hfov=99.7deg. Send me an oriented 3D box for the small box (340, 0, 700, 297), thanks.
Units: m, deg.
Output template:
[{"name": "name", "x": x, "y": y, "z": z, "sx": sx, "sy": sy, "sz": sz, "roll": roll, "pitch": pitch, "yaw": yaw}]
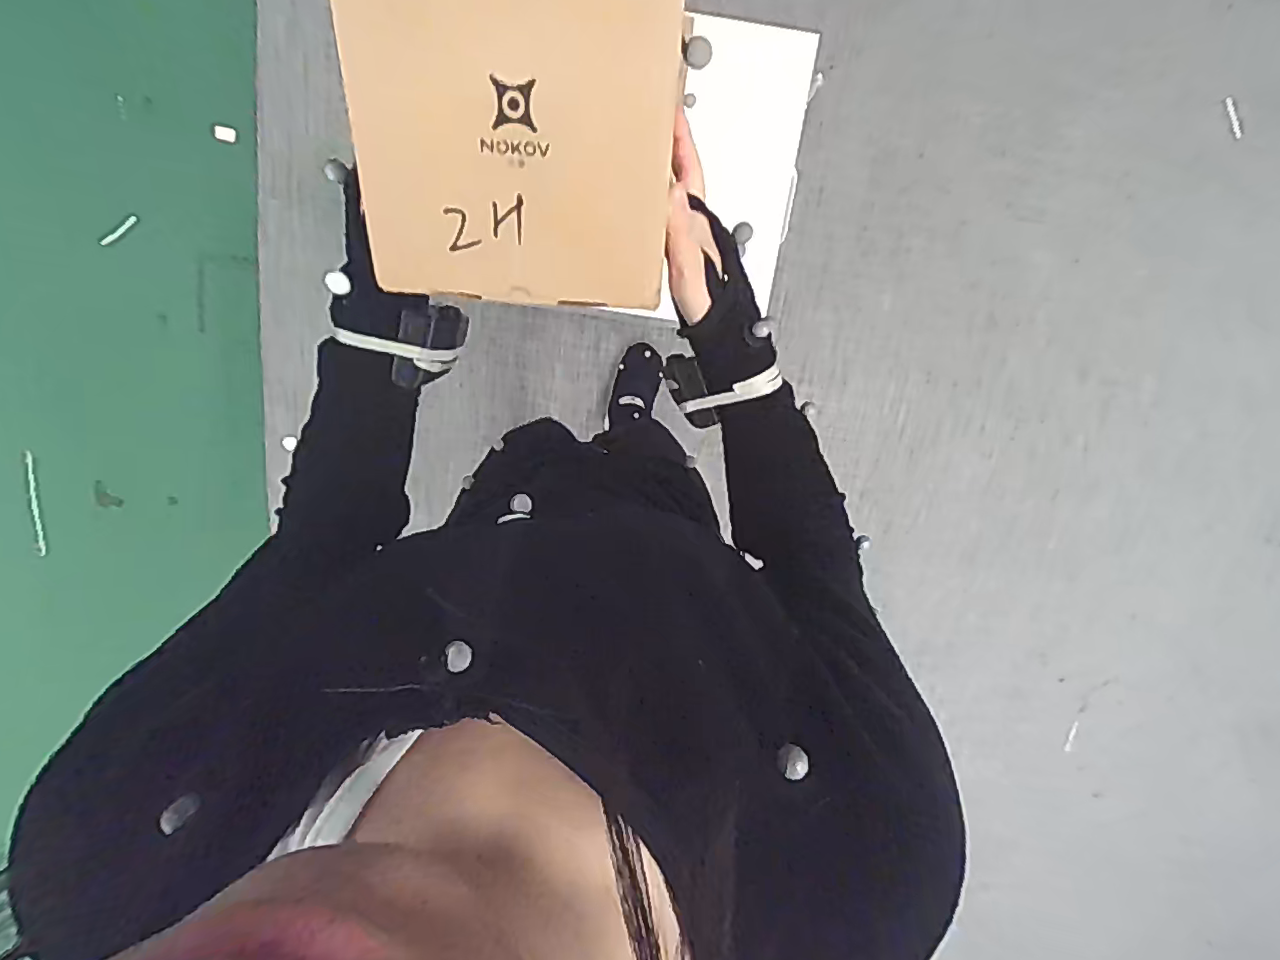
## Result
[{"name": "small box", "x": -0.058, "y": -0.222, "z": 0.334, "sx": 0.168, "sy": 0.176, "sz": 0.179, "roll": 4, "pitch": 118, "yaw": -1}]
